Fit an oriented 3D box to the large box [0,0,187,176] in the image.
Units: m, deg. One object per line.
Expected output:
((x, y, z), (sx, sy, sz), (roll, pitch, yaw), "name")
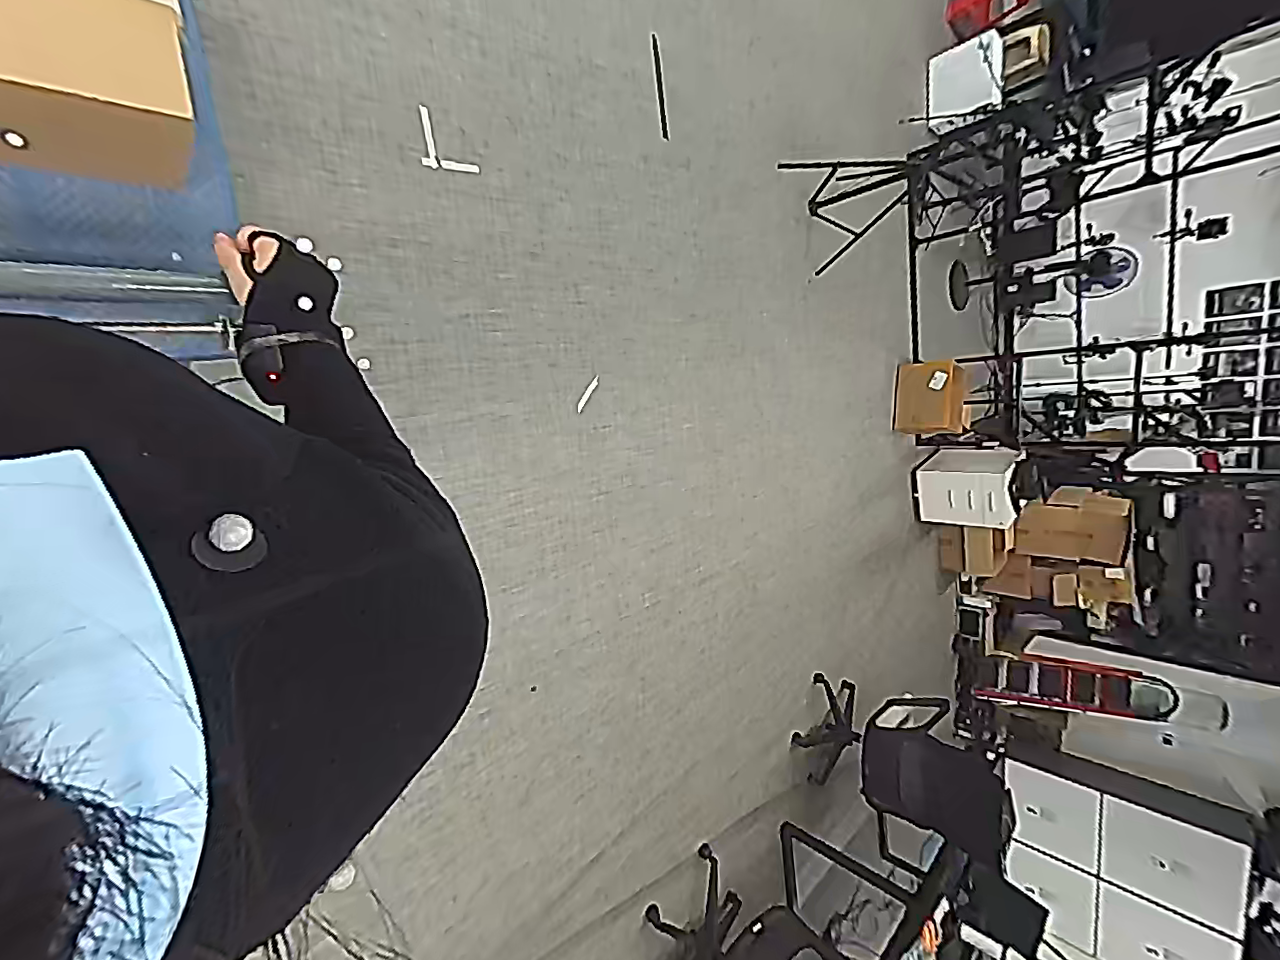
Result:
((-0.935, -0.672, 0.761), (0.408, 0.320, 0.320), (-13, 101, -41), "large box")
